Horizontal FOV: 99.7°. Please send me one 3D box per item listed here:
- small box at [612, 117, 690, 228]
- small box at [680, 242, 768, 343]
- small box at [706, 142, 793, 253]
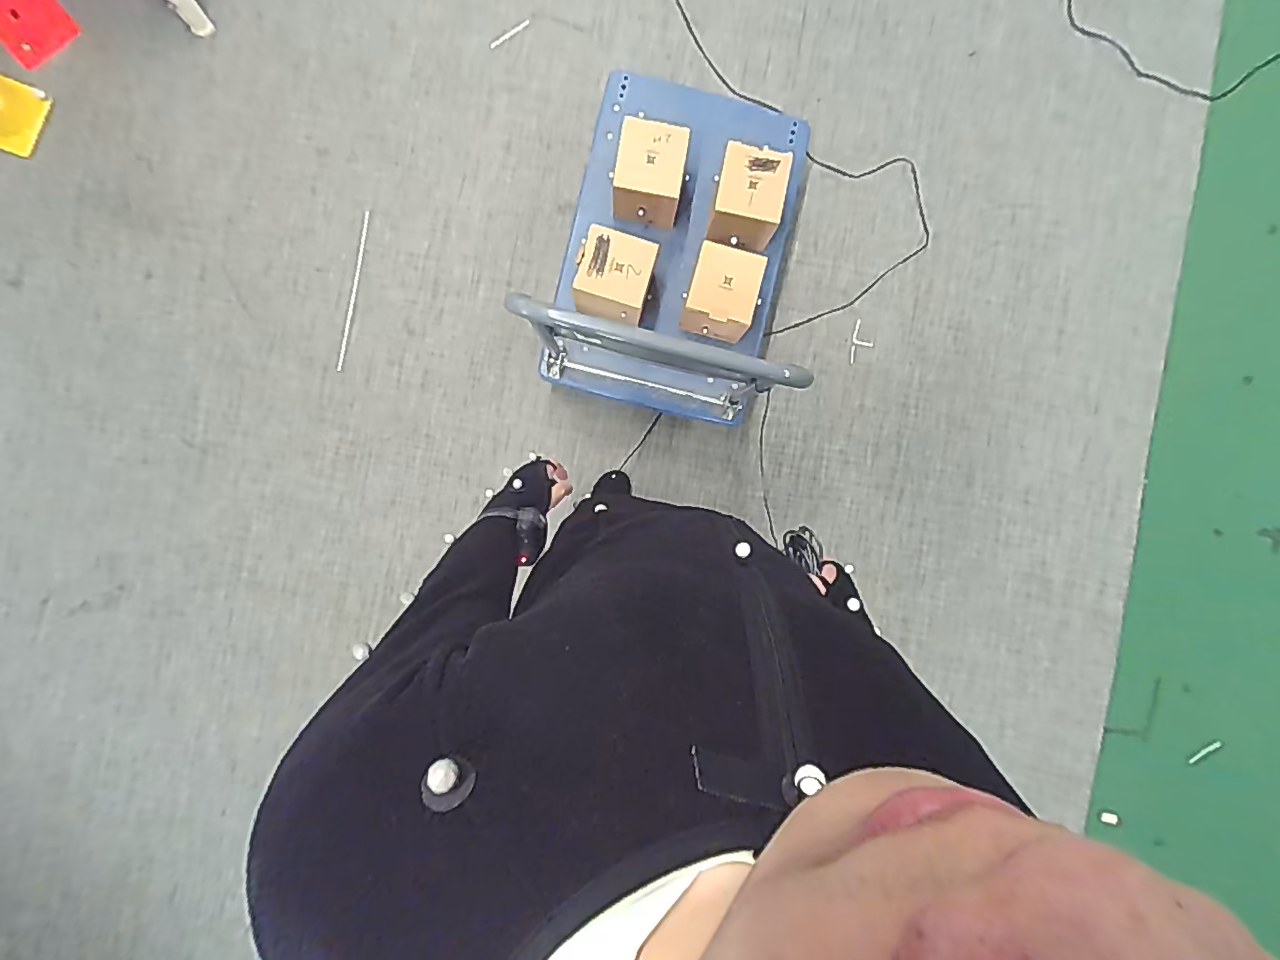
[{"bbox_3d":[0.024,-0.772,1.379,0.168,0.176,0.179,10,90,-3],"label":"small box"},{"bbox_3d":[0.207,-0.473,1.389,0.168,0.176,0.179,15,90,-3],"label":"small box"},{"bbox_3d":[0.274,-0.718,1.391,0.168,0.176,0.179,12,91,-2],"label":"small box"}]
